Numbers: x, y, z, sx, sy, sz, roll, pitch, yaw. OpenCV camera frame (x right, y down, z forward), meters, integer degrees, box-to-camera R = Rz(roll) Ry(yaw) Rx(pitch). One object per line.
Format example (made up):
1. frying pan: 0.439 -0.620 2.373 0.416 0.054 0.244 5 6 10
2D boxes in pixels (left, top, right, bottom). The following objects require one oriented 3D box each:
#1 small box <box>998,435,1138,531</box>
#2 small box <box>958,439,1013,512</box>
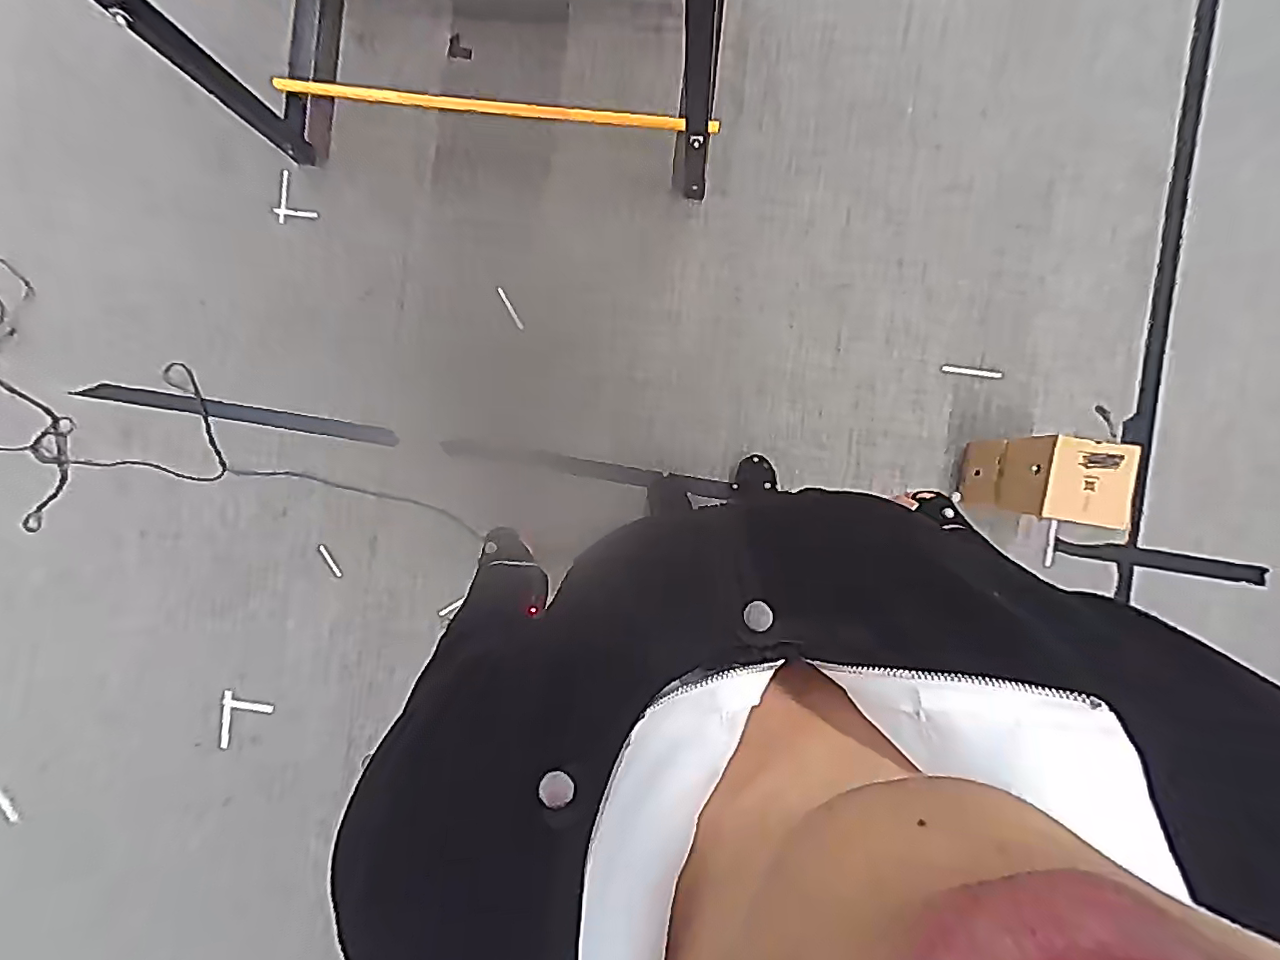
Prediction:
1. small box: 0.925 0.004 1.186 0.168 0.176 0.179 10 92 4
2. small box: 0.931 -0.002 1.352 0.179 0.176 0.168 10 91 5
